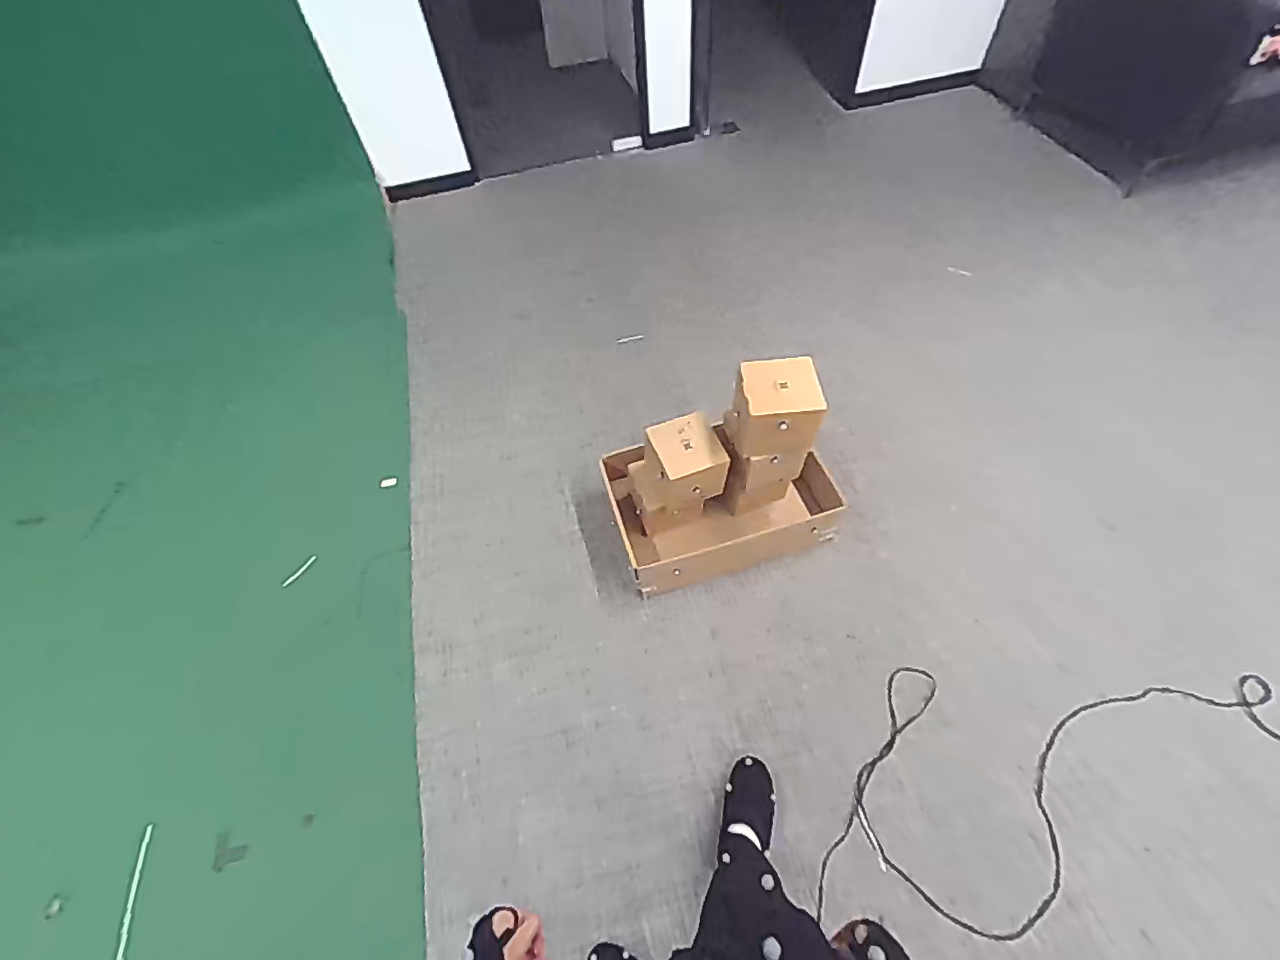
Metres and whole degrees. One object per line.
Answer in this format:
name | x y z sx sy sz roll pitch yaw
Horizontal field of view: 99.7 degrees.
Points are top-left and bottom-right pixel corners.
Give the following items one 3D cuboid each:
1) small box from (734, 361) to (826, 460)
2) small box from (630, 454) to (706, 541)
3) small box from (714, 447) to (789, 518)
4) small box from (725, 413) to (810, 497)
small box | 0.334 -0.166 1.323 0.179 0.176 0.168 -7 58 2
small box | 0.082 0.056 1.590 0.179 0.176 0.168 -18 58 -10
small box | 0.335 -0.011 1.613 0.179 0.176 0.168 -23 58 -9
small box | 0.336 -0.085 1.464 0.168 0.176 0.179 -20 57 -6
